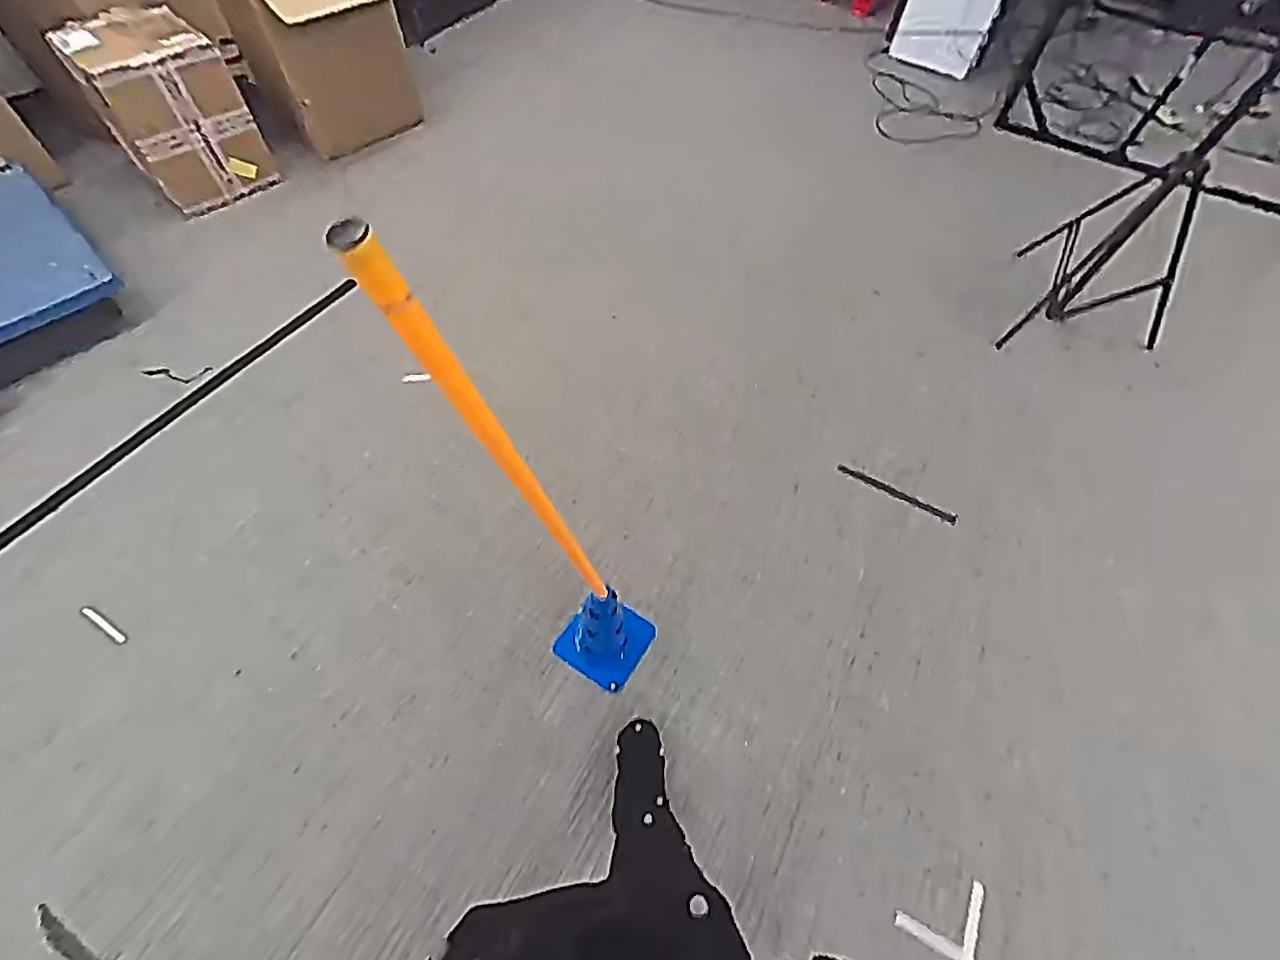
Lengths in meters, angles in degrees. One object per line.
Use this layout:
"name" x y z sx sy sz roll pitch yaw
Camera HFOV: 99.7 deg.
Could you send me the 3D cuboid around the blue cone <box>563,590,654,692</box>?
"blue cone" -0.071 0.319 1.210 0.192 0.380 0.193 32 63 15
